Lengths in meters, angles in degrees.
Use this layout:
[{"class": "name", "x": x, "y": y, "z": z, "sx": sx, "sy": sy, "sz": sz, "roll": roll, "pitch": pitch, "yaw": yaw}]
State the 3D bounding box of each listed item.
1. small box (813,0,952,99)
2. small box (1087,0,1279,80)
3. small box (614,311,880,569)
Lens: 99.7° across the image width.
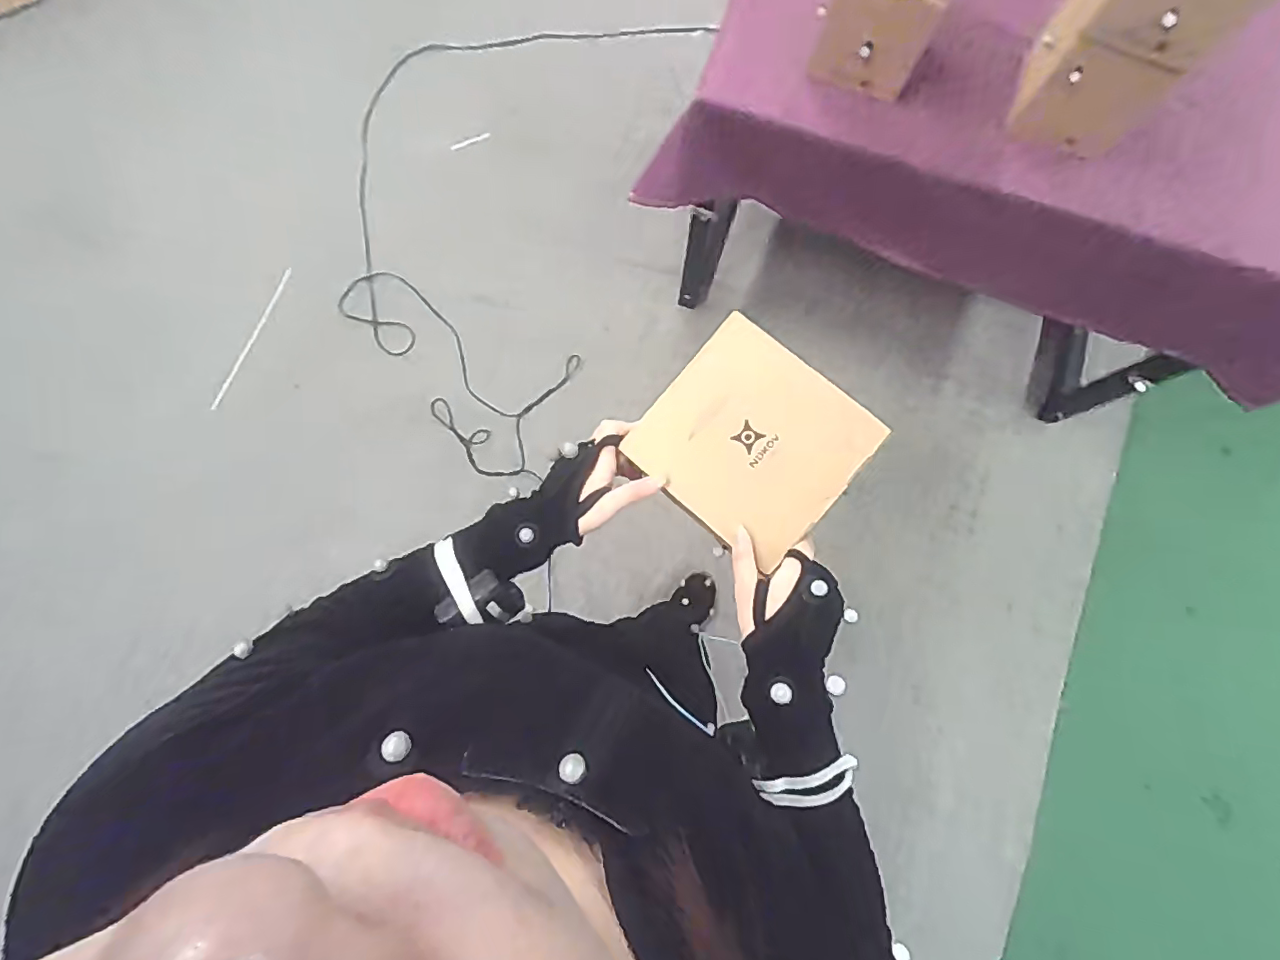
[{"class": "small box", "x": 0.401, "y": -0.774, "z": 0.877, "sx": 0.168, "sy": 0.176, "sz": 0.179, "roll": 22, "pitch": 81, "yaw": 1}, {"class": "small box", "x": 0.740, "y": -0.687, "z": 0.706, "sx": 0.168, "sy": 0.176, "sz": 0.179, "roll": 24, "pitch": 80, "yaw": 3}, {"class": "small box", "x": 0.100, "y": -0.032, "z": 0.556, "sx": 0.179, "sy": 0.176, "sz": 0.168, "roll": 41, "pitch": 89, "yaw": 8}]
